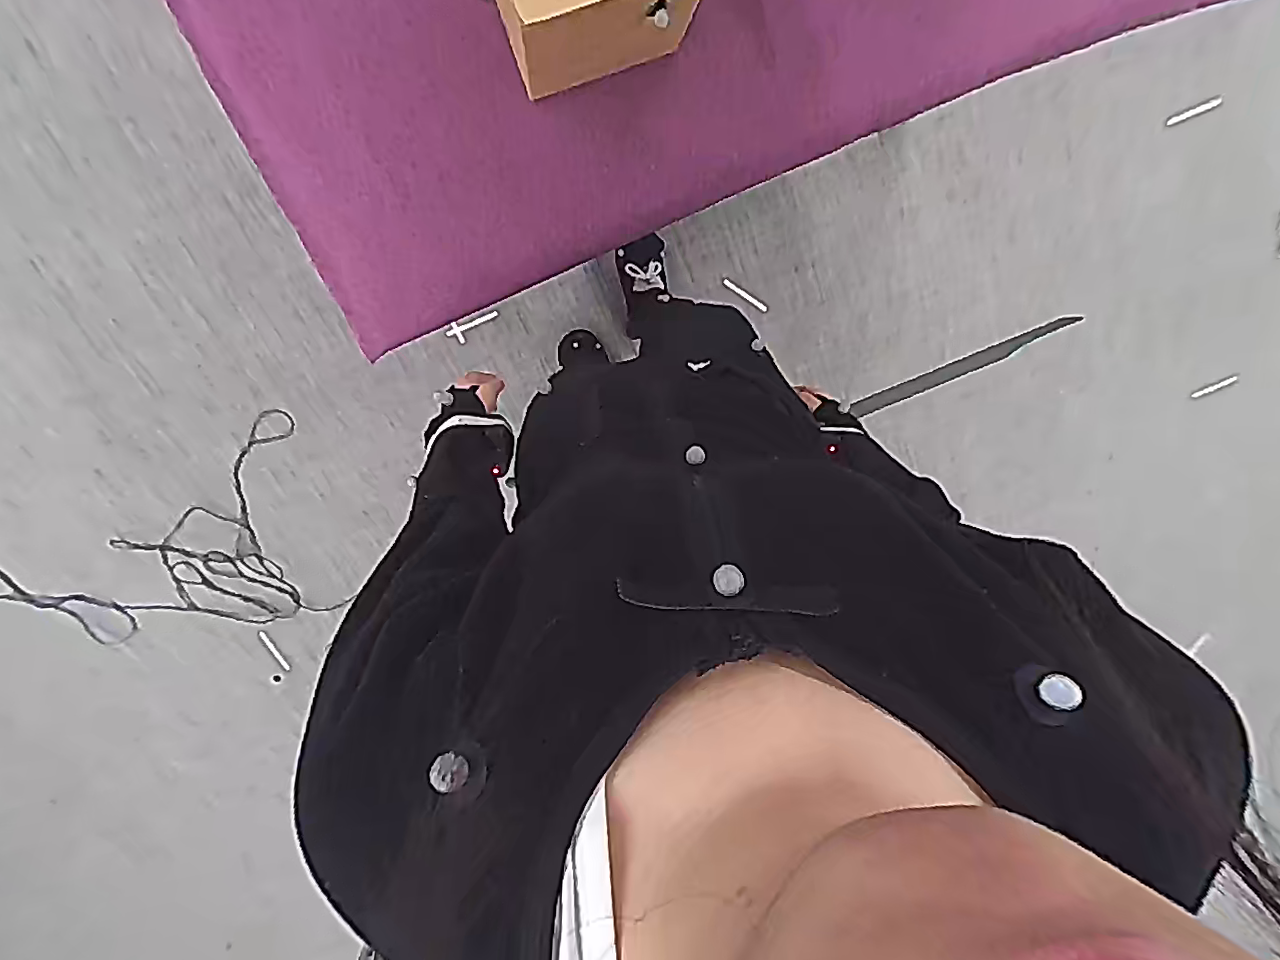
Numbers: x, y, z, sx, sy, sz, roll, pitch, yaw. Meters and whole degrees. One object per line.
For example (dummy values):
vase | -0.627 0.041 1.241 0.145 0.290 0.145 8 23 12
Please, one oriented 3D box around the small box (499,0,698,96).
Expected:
small box | -0.050 -0.496 0.496 0.179 0.176 0.168 -20 109 -1

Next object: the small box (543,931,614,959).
small box | -0.178 1.451 1.555 0.179 0.176 0.168 25 101 -13
